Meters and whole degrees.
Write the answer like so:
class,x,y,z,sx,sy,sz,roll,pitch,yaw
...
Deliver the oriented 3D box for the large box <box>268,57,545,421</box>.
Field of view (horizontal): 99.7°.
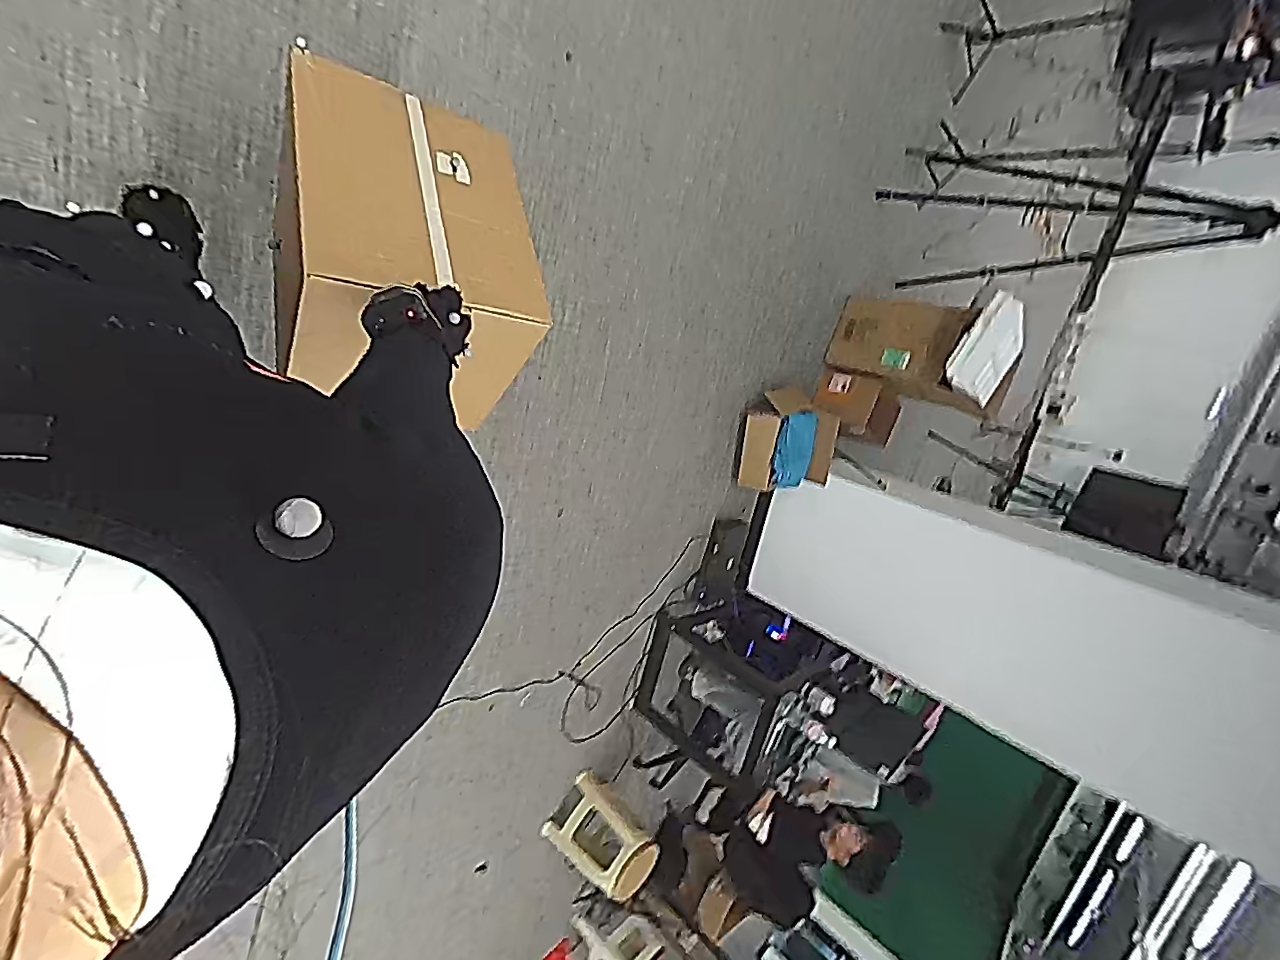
class,x,y,z,sx,sy,sz,roll,pitch,yaw
large box,-0.398,-0.344,0.877,0.320,0.320,0.408,-1,64,-40
